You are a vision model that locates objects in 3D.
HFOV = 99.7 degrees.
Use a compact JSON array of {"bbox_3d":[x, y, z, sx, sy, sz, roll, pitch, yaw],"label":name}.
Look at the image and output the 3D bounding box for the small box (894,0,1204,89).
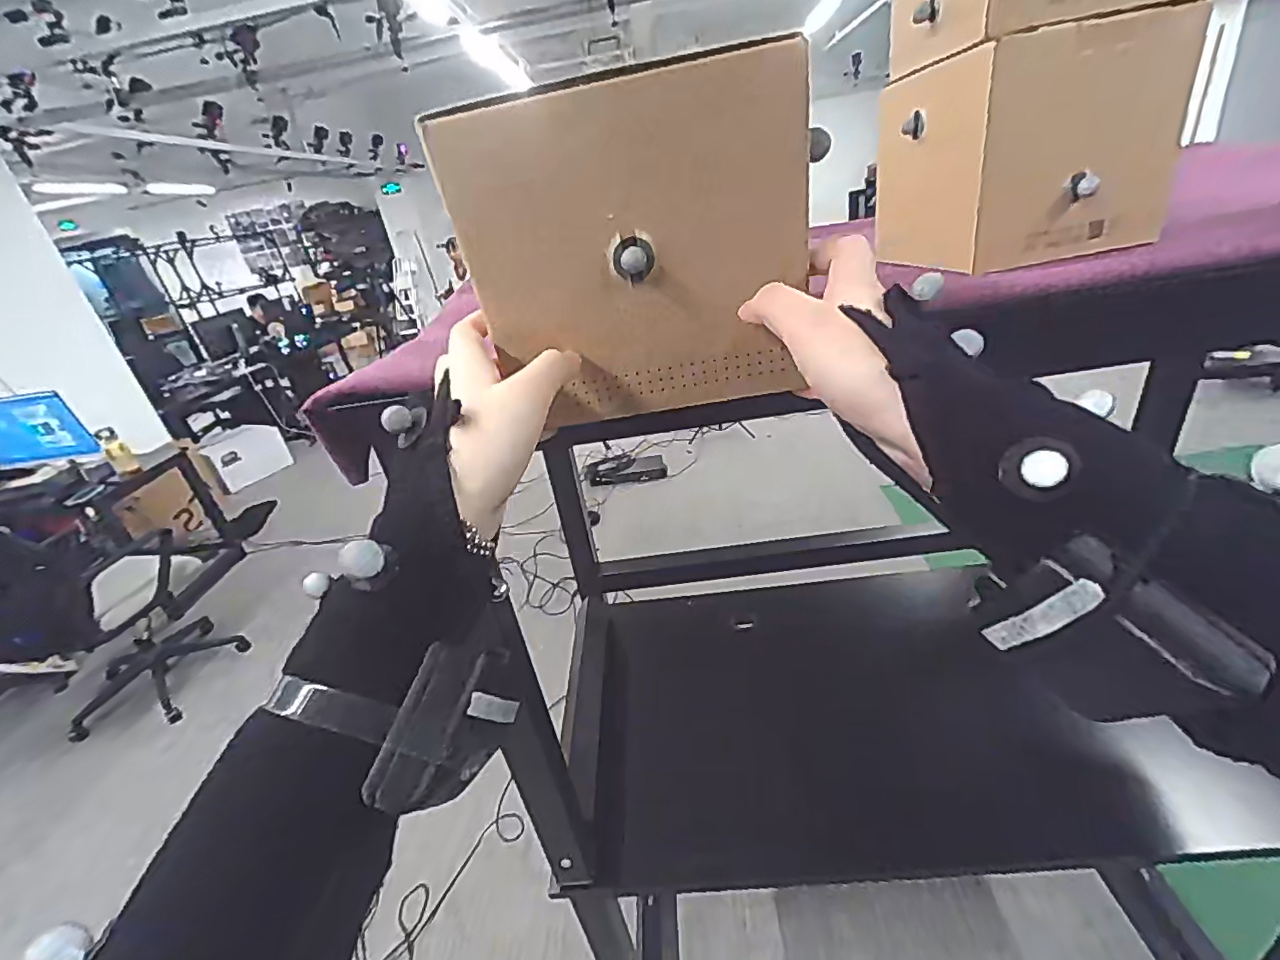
[{"bbox_3d":[0.323,-0.440,0.432,0.168,0.176,0.179,-8,27,3],"label":"small box"}]
